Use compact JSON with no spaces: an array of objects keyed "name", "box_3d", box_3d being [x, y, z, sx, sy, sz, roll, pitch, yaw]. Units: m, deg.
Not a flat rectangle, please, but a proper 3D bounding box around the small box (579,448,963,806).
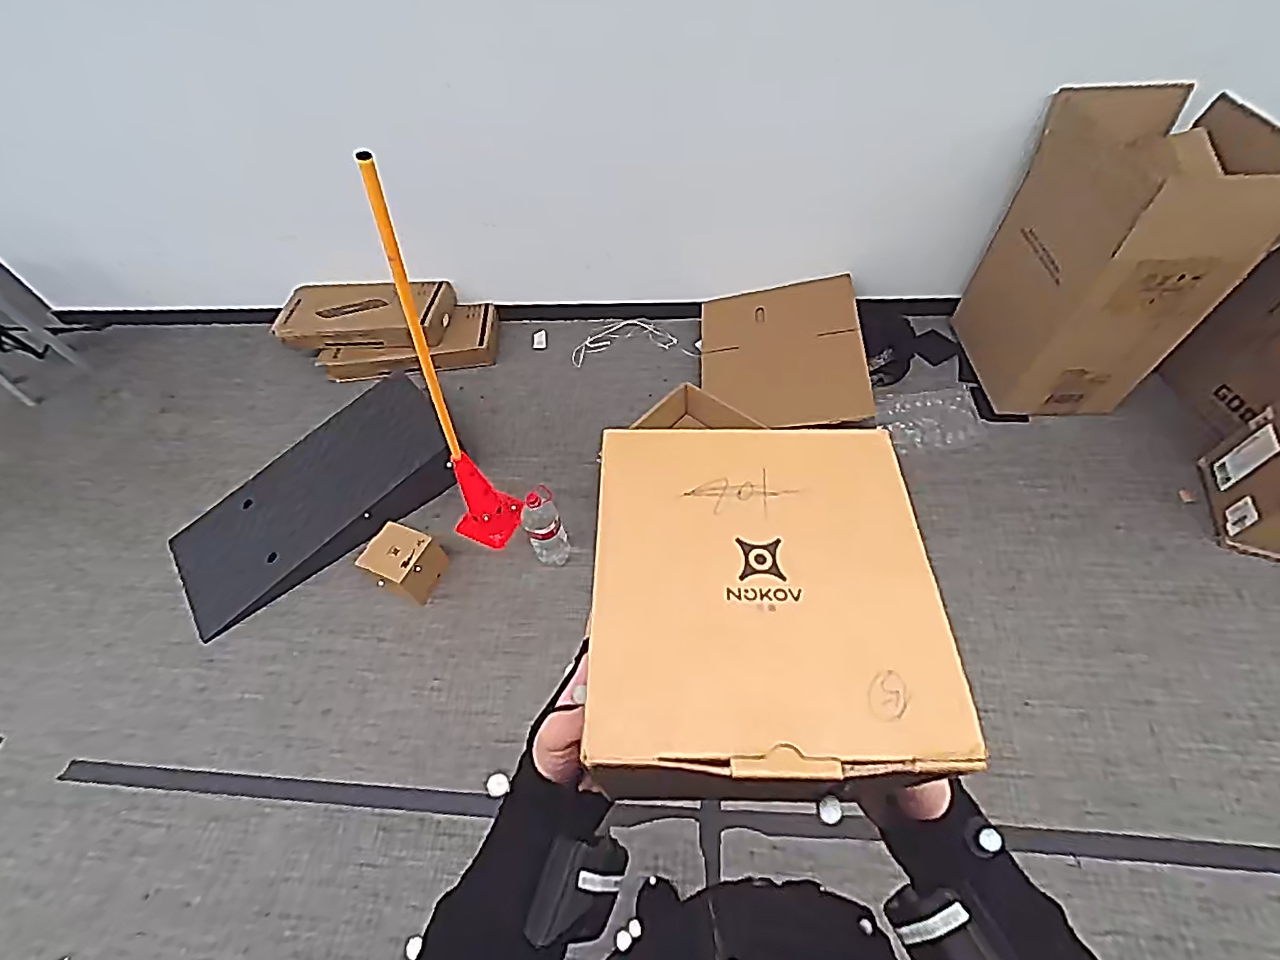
[{"name":"small box","box_3d":[0.058,0.098,0.340,0.168,0.176,0.179,1,55,0]}]
